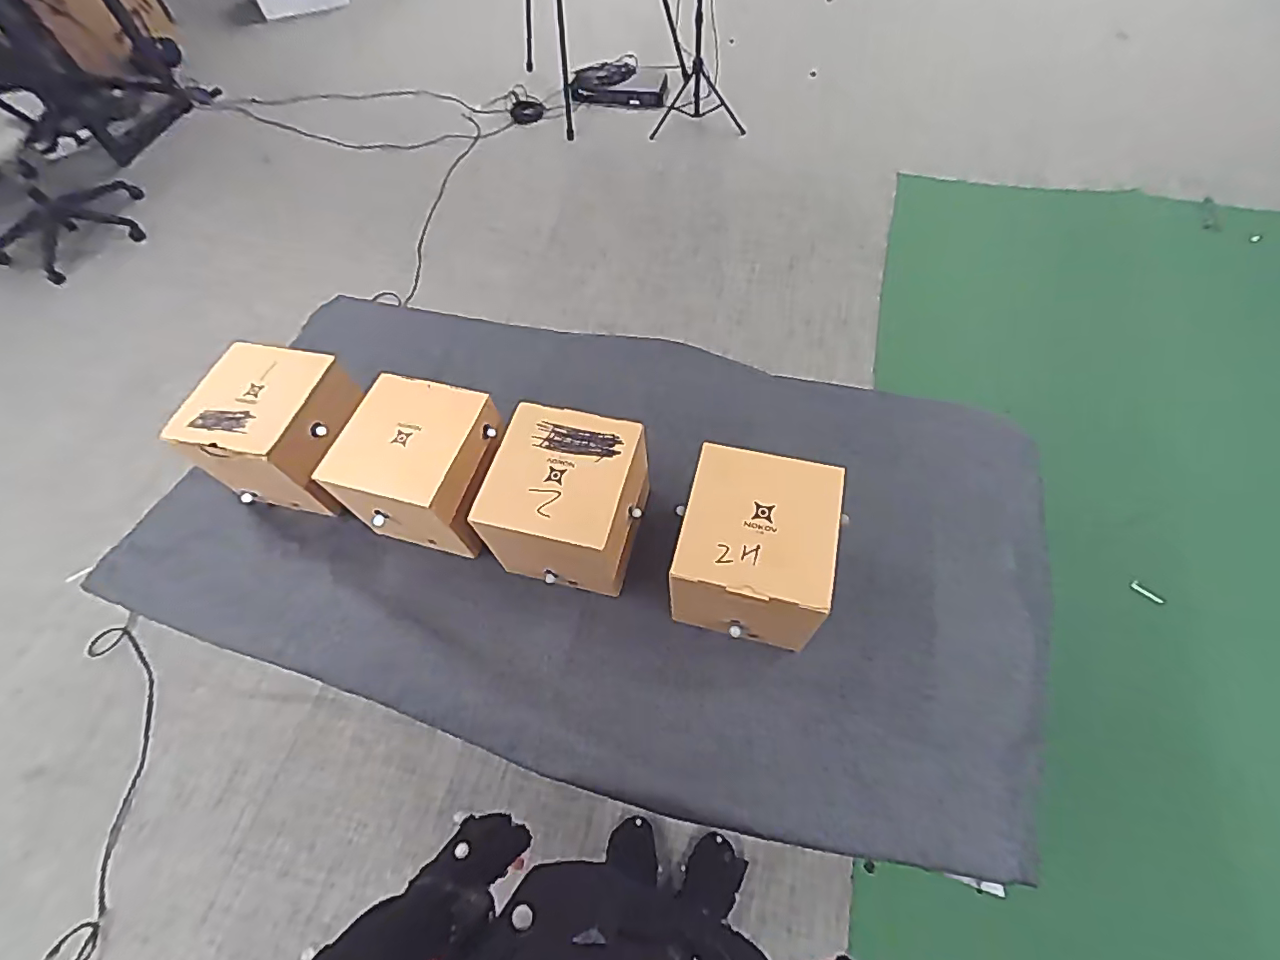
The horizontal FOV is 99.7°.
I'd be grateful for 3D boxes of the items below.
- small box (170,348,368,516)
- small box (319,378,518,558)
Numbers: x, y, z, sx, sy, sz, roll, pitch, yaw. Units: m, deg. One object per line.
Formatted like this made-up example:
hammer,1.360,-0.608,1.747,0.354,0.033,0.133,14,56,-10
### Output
small box,-0.513,-0.066,0.802,0.168,0.176,0.179,10,59,9
small box,-0.288,-0.011,0.755,0.168,0.176,0.179,12,60,11
